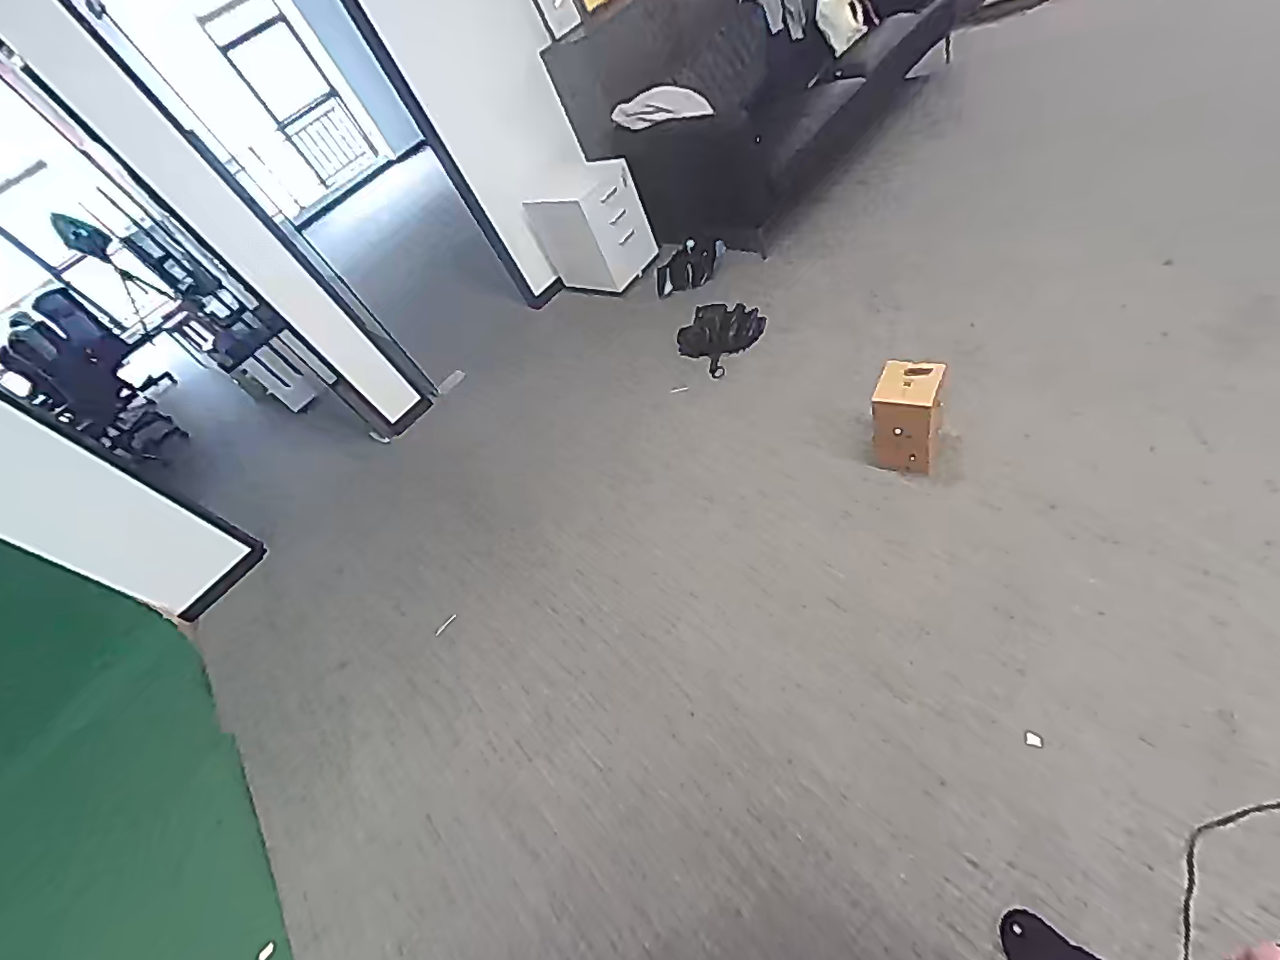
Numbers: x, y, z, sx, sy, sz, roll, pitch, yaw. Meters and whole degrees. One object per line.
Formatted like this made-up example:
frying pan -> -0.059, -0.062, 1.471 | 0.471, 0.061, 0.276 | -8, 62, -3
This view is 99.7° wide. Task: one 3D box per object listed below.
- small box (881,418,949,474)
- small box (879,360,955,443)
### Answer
small box -> 0.898, -0.142, 1.757 | 0.168, 0.176, 0.179 | 13, 58, 35
small box -> 0.839, -0.238, 1.637 | 0.168, 0.176, 0.179 | 13, 61, 36
